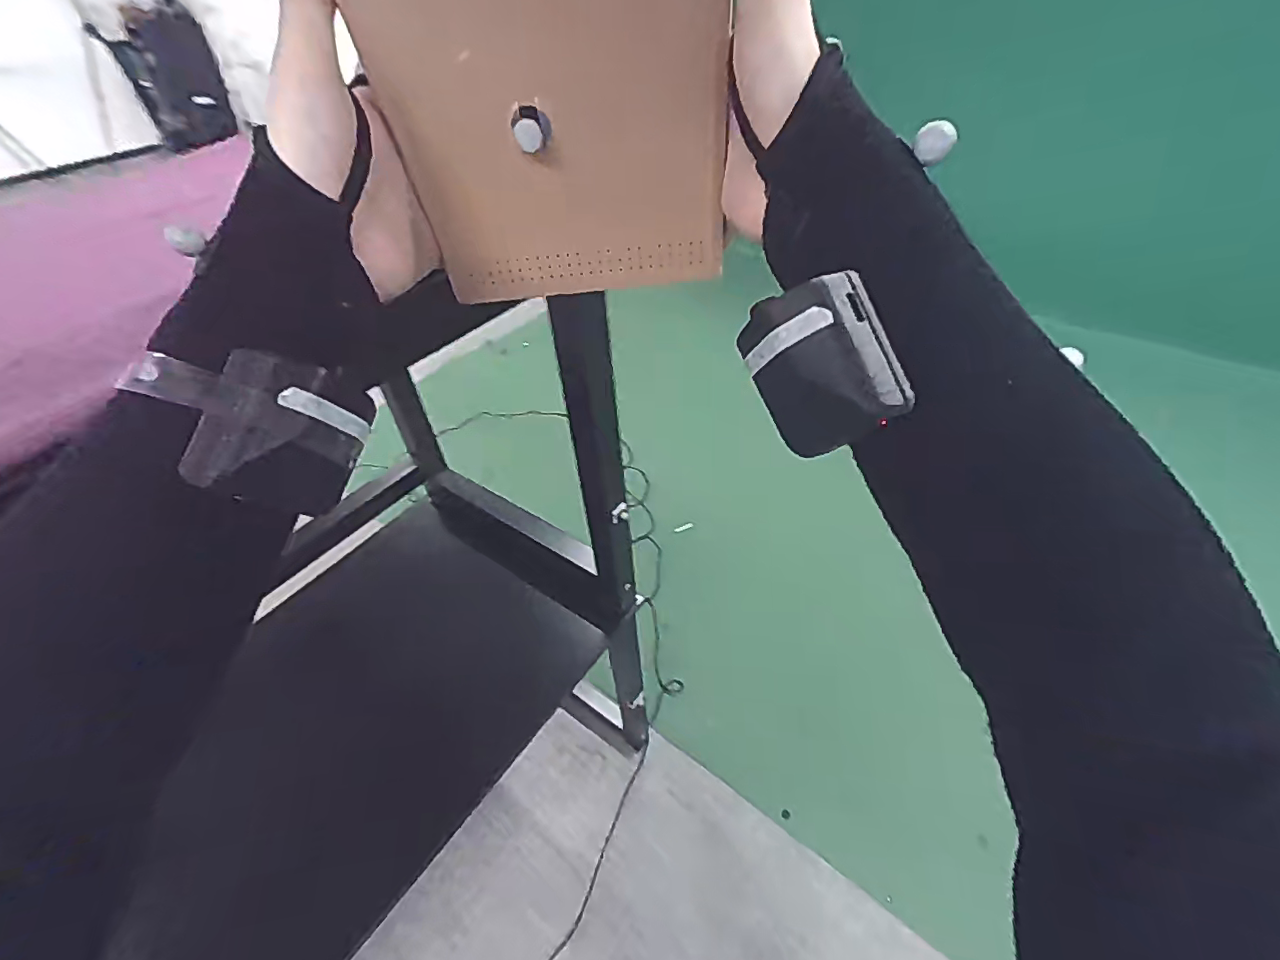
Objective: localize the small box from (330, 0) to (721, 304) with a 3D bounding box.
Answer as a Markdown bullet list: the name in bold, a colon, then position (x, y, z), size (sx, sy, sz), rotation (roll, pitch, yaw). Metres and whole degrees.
- **small box**: position (-0.045, -0.231, 0.341), size (0.179, 0.176, 0.168), rotation (-6, 53, 4)
